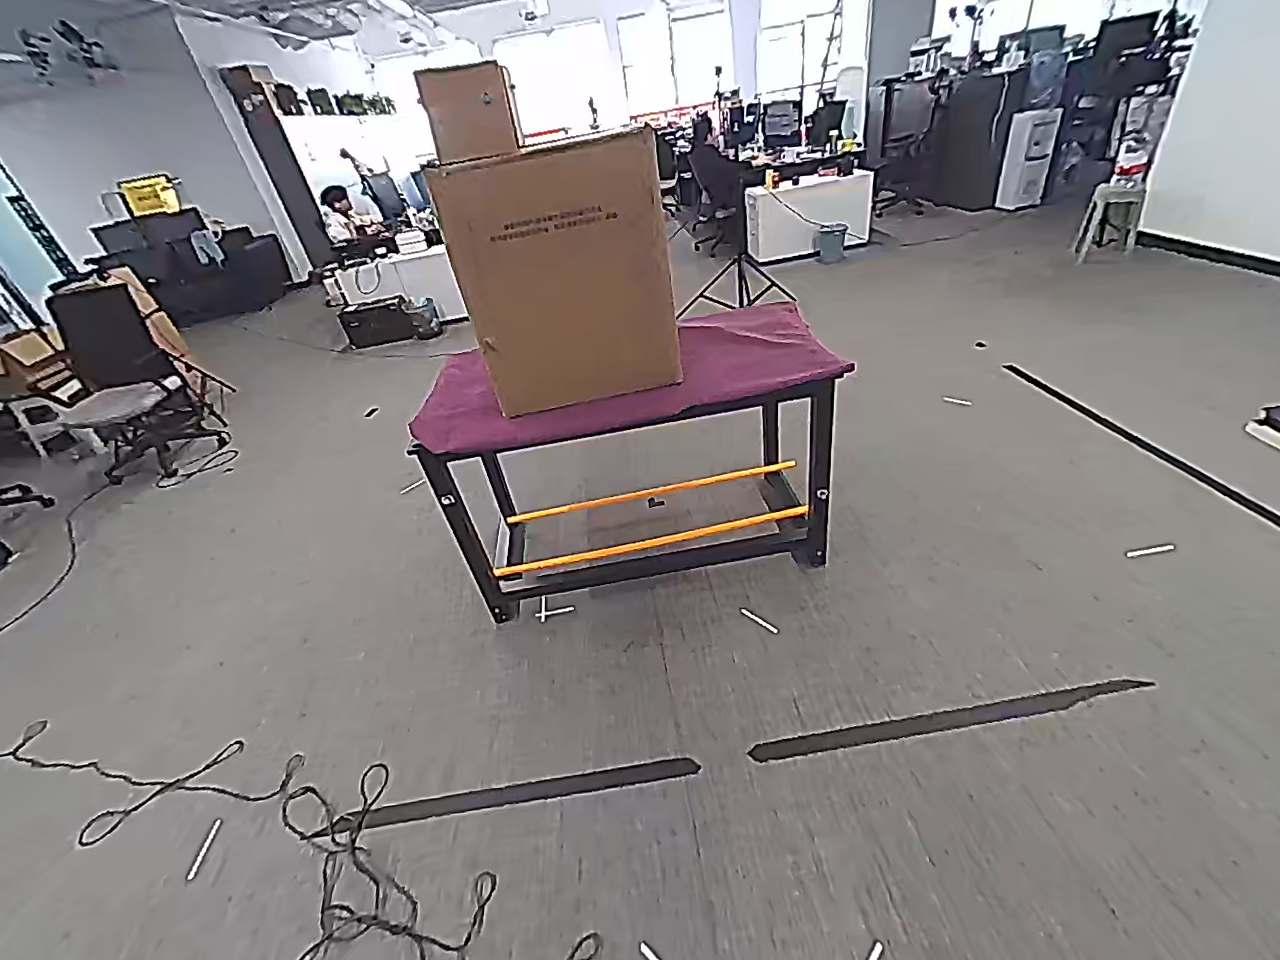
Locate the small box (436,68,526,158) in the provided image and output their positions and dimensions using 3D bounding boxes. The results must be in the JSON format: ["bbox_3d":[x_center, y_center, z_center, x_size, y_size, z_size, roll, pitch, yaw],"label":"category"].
[{"bbox_3d":[-0.398,-0.936,1.387,0.168,0.176,0.179,-9,34,0],"label":"small box"}]
